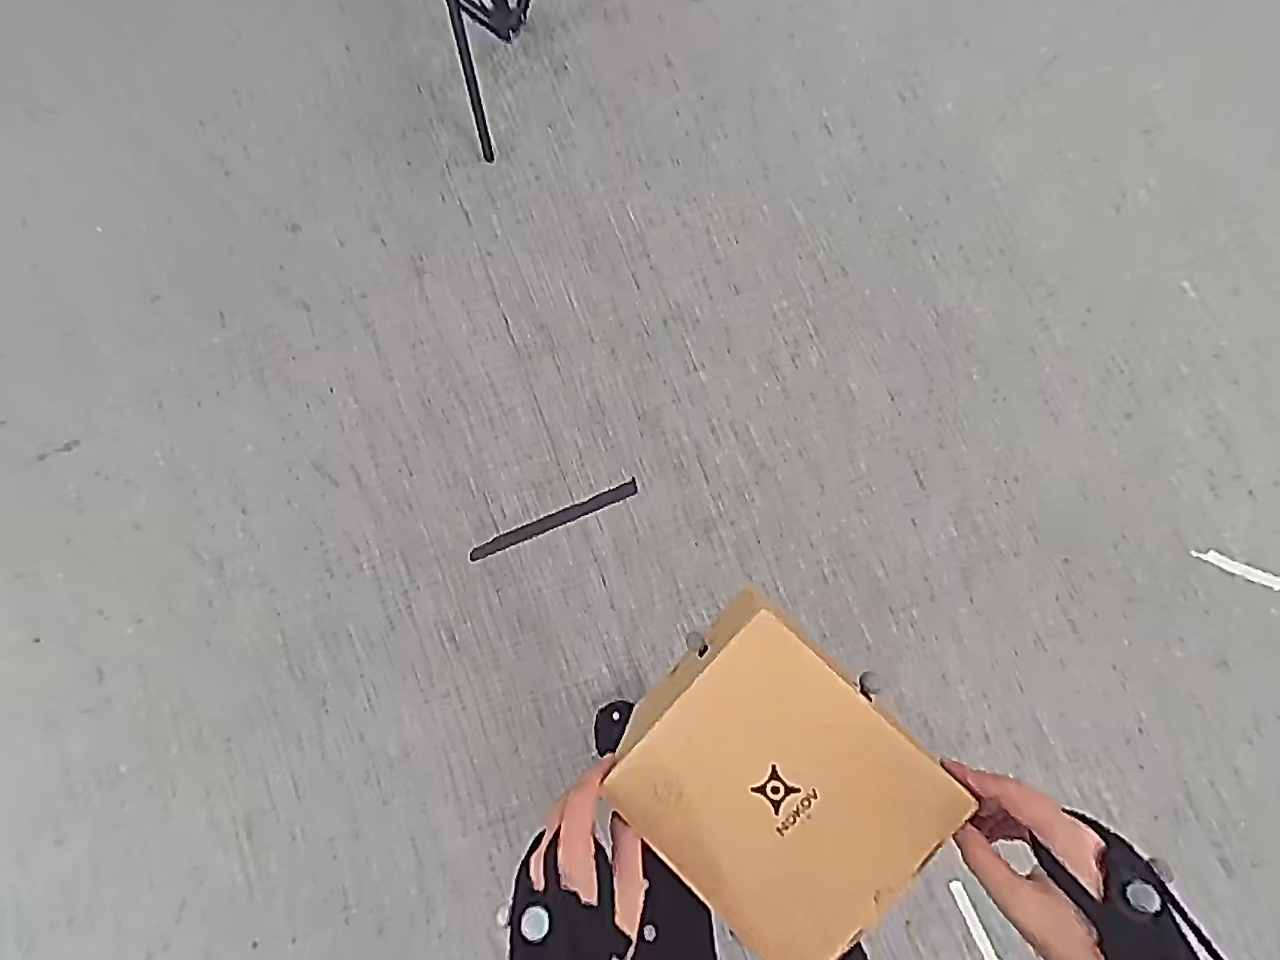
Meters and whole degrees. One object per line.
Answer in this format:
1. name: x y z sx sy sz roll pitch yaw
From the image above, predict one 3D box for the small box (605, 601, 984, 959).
1. small box: 0.100 0.211 0.417 0.179 0.176 0.168 42 91 8
